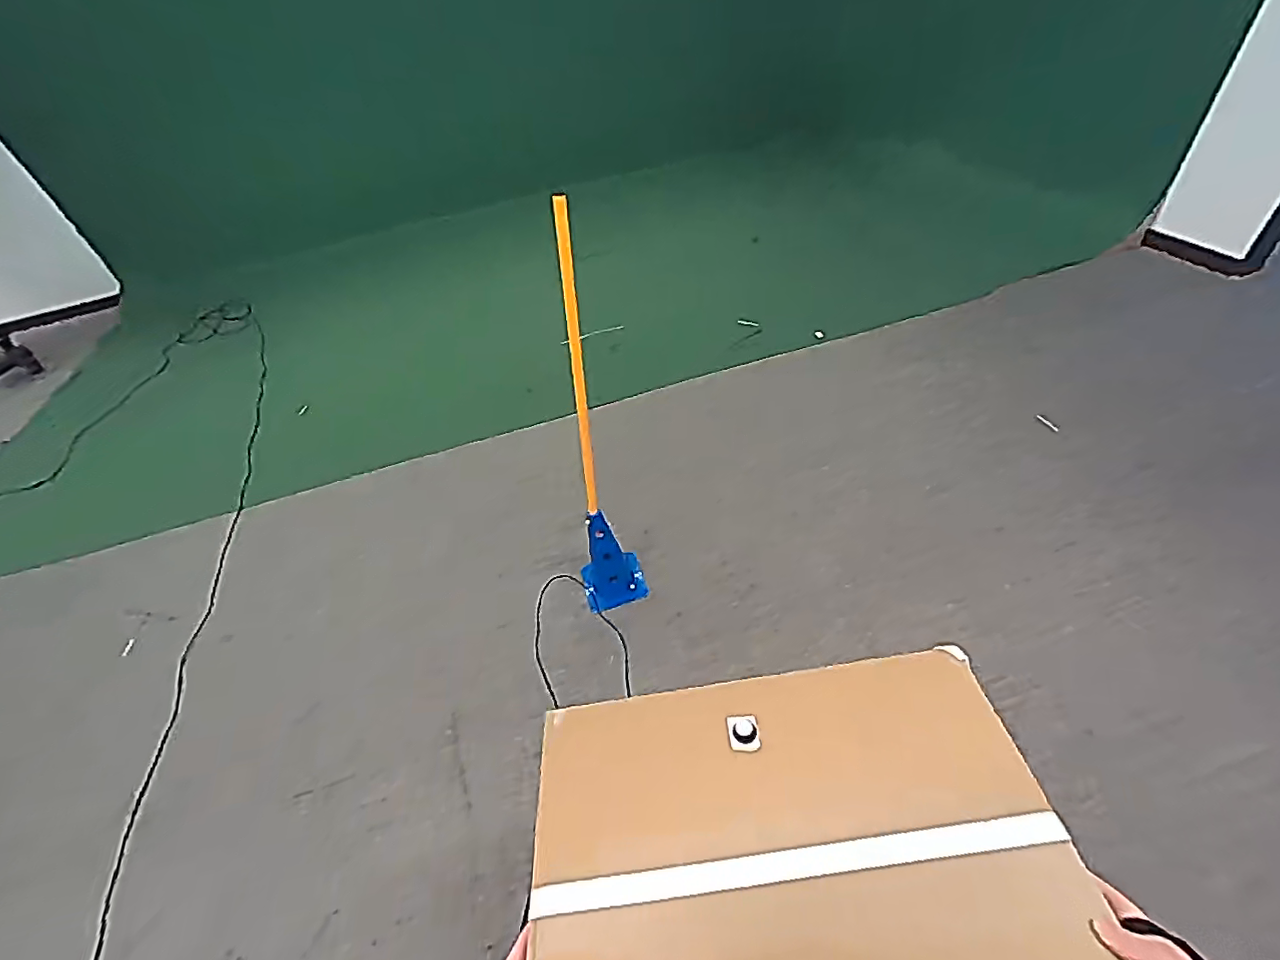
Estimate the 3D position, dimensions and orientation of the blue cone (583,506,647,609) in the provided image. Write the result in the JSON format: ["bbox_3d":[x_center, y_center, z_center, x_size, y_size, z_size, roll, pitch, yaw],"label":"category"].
[{"bbox_3d":[-0.106,0.213,1.691,0.193,0.380,0.192,-18,45,-9],"label":"blue cone"}]
